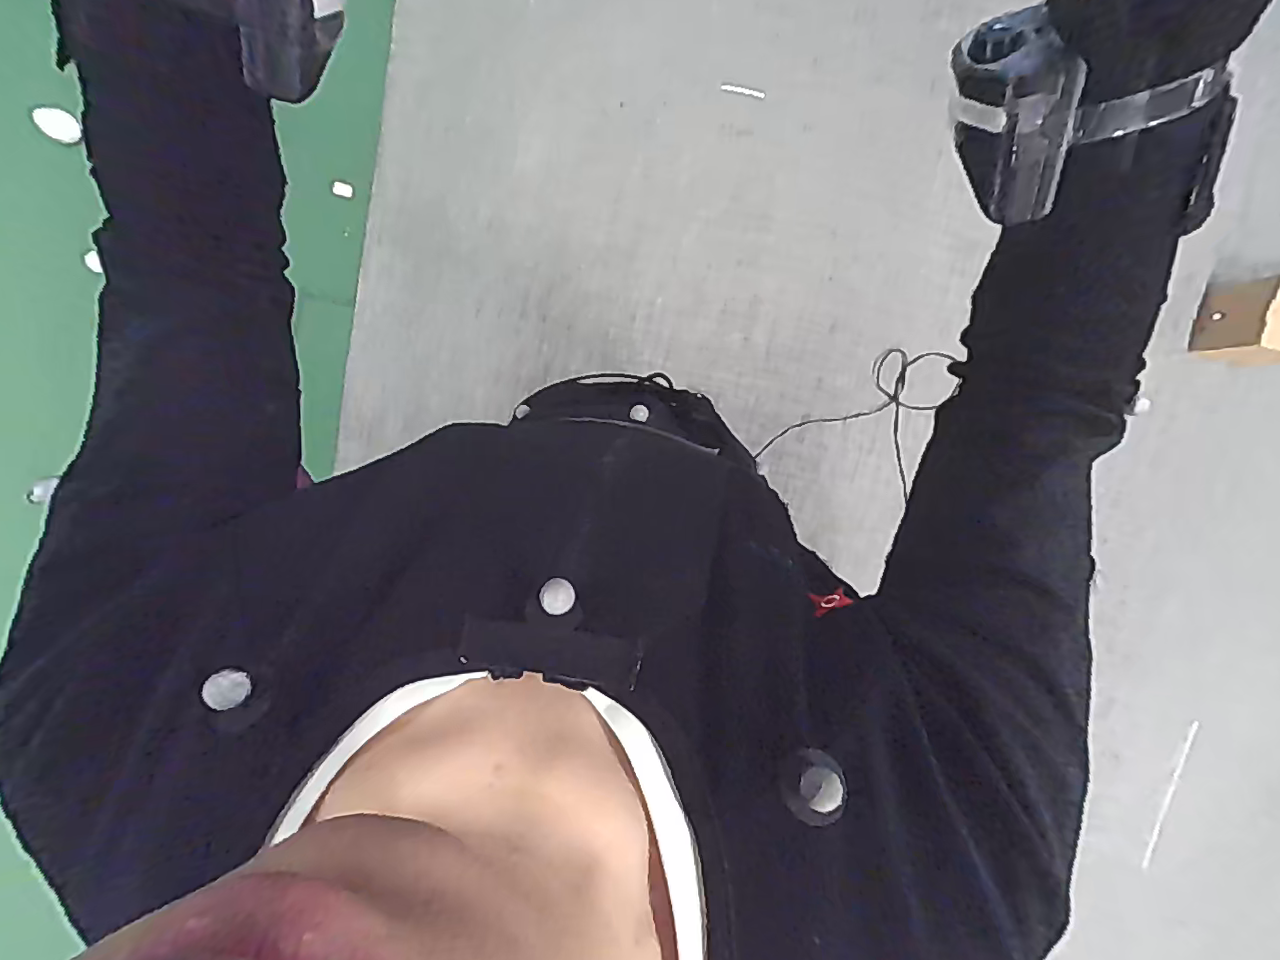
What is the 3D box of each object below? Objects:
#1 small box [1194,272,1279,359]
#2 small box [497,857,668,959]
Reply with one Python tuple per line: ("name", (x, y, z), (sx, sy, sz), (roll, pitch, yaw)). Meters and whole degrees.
("small box", (1.512, -0.389, 1.292), (0.179, 0.176, 0.168), (12, 98, 0))
("small box", (-0.071, 0.548, 0.574), (0.179, 0.176, 0.168), (15, 99, -1))
